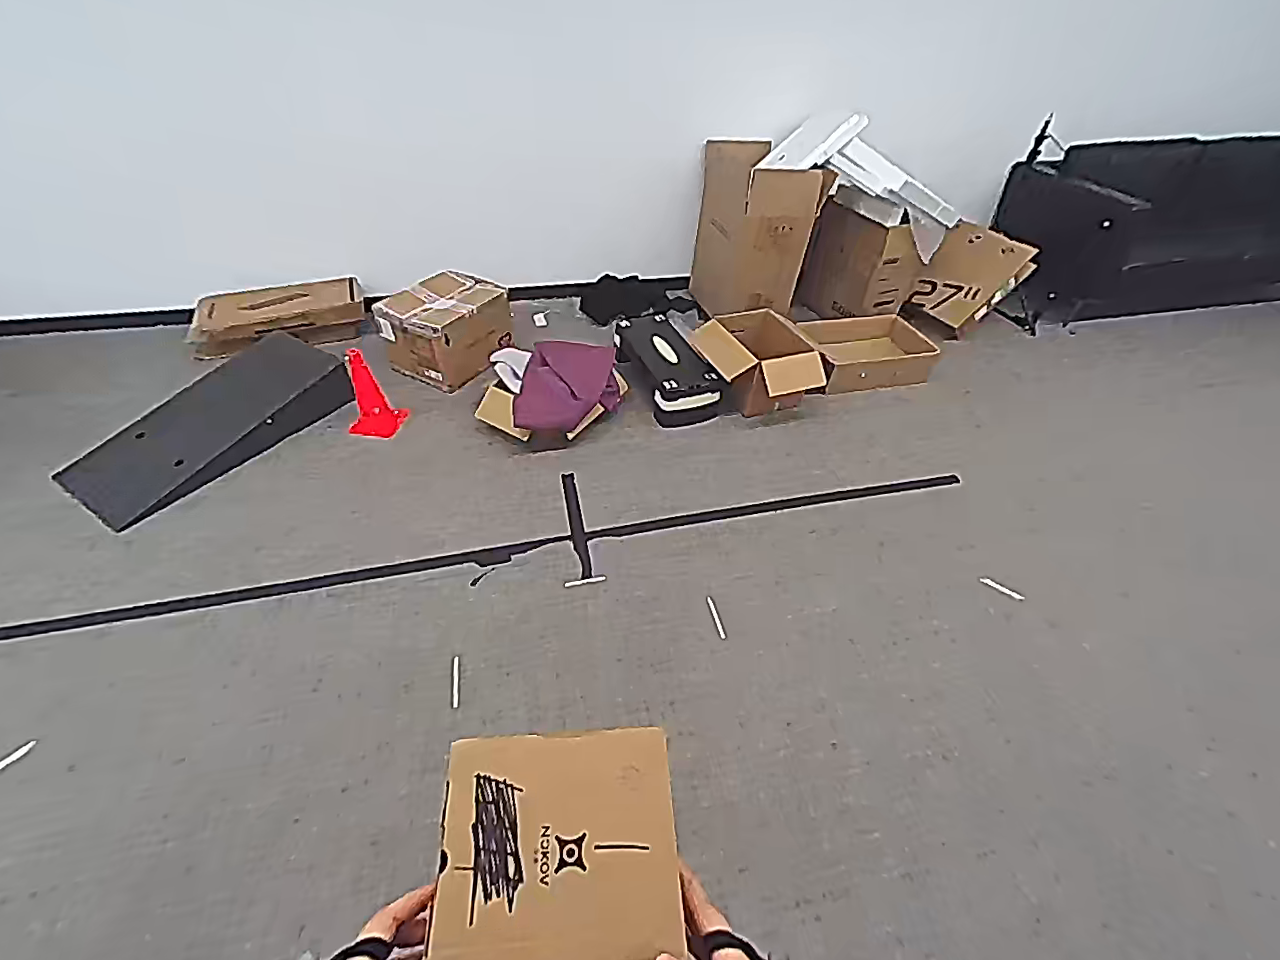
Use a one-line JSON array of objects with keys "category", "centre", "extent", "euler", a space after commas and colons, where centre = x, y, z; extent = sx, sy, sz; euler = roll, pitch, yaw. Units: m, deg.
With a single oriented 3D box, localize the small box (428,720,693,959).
[{"category": "small box", "centre": [-0.060, 0.317, 0.456], "extent": [0.179, 0.176, 0.168], "euler": [-1, 51, -6]}]
